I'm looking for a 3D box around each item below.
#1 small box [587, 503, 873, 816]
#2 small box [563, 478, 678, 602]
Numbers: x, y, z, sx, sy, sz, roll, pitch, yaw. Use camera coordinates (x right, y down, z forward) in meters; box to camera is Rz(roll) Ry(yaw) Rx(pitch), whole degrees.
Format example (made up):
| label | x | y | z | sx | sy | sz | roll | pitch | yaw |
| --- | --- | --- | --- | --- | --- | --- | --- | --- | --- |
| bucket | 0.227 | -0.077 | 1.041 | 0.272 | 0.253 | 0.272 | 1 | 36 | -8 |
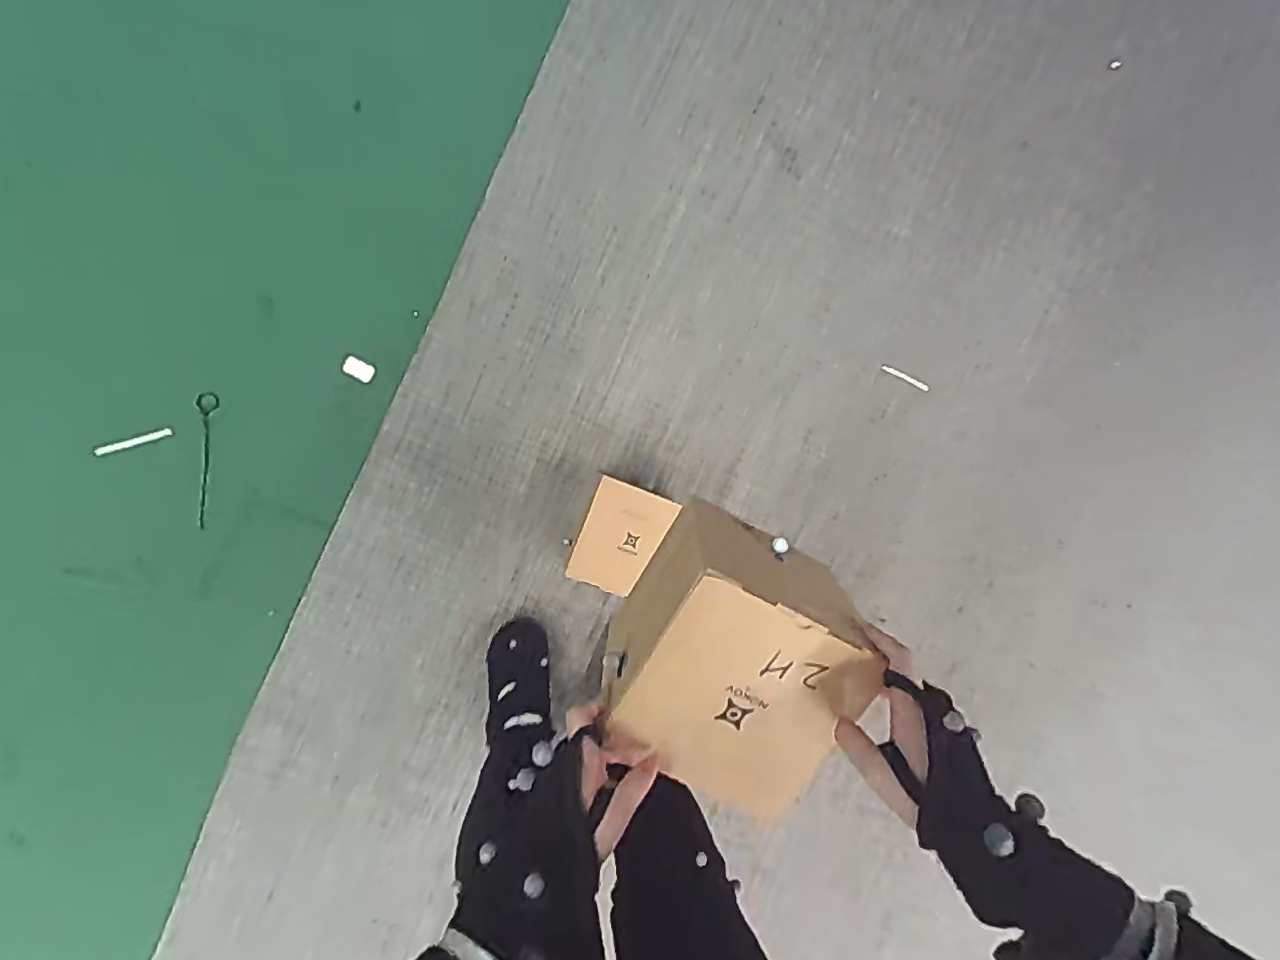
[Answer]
| label | x | y | z | sx | sy | sz | roll | pitch | yaw |
| --- | --- | --- | --- | --- | --- | --- | --- | --- | --- |
| small box | 0.071 | 0.151 | 0.499 | 0.168 | 0.176 | 0.179 | 28 | 107 | -7 |
| small box | -0.028 | 0.107 | 0.953 | 0.168 | 0.176 | 0.179 | 22 | 89 | -9 |
